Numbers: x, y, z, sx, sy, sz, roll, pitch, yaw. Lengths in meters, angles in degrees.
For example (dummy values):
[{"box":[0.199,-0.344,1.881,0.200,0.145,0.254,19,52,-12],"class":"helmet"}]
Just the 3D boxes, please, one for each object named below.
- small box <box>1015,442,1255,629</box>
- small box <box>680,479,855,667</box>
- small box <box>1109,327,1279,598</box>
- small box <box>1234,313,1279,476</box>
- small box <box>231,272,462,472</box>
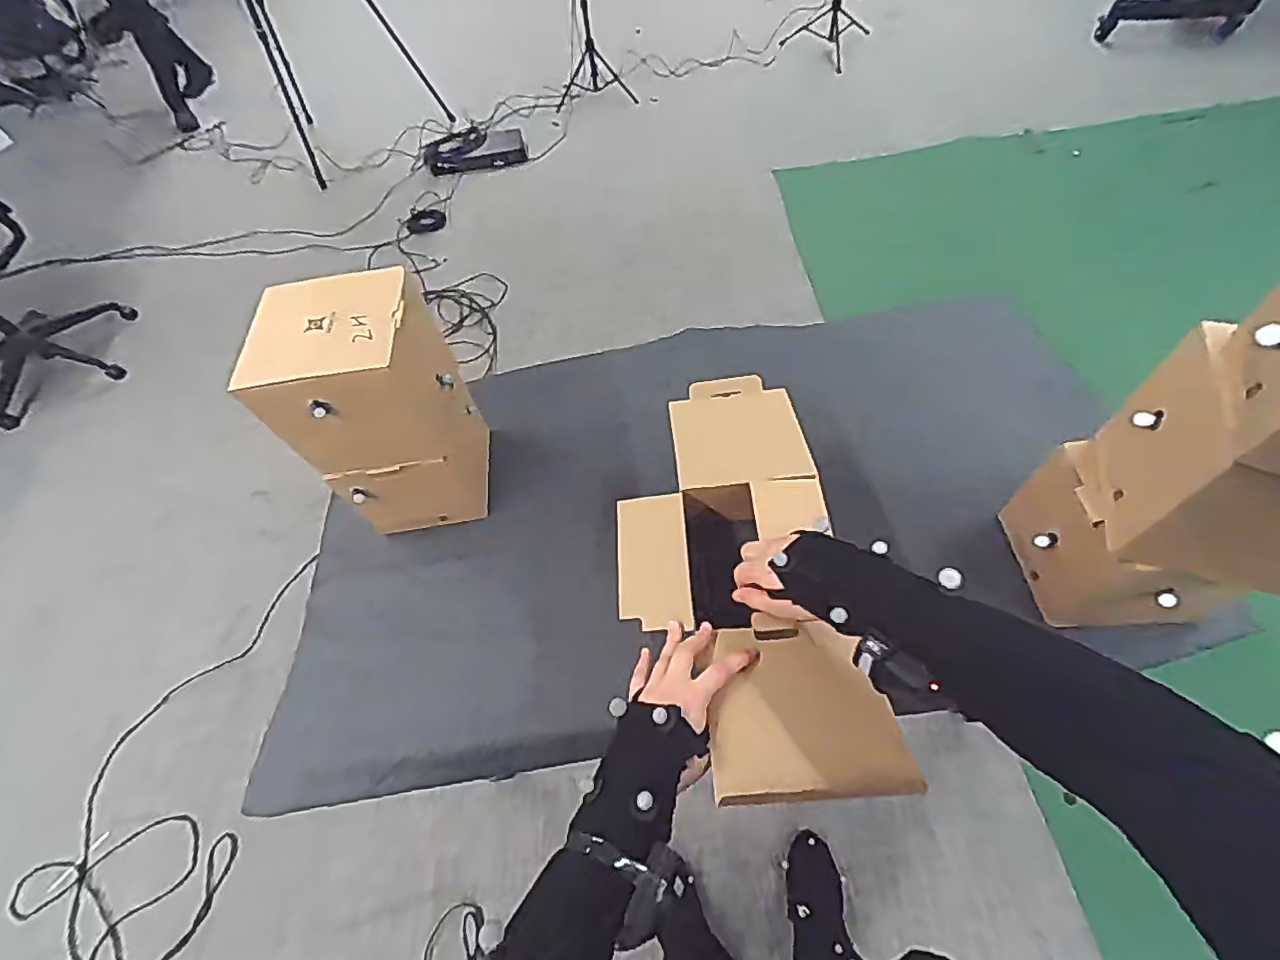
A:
[{"box":[0.582,0.068,0.635,0.179,0.176,0.168,-4,55,5],"class":"small box"},{"box":[0.143,0.122,0.658,0.168,0.176,0.179,-6,57,4],"class":"small box"},{"box":[0.569,-0.010,0.490,0.179,0.176,0.168,15,59,16],"class":"small box"},{"box":[0.553,-0.081,0.341,0.179,0.176,0.168,23,61,21],"class":"small box"},{"box":[-0.342,-0.125,0.670,0.179,0.176,0.168,-8,59,1],"class":"small box"}]
